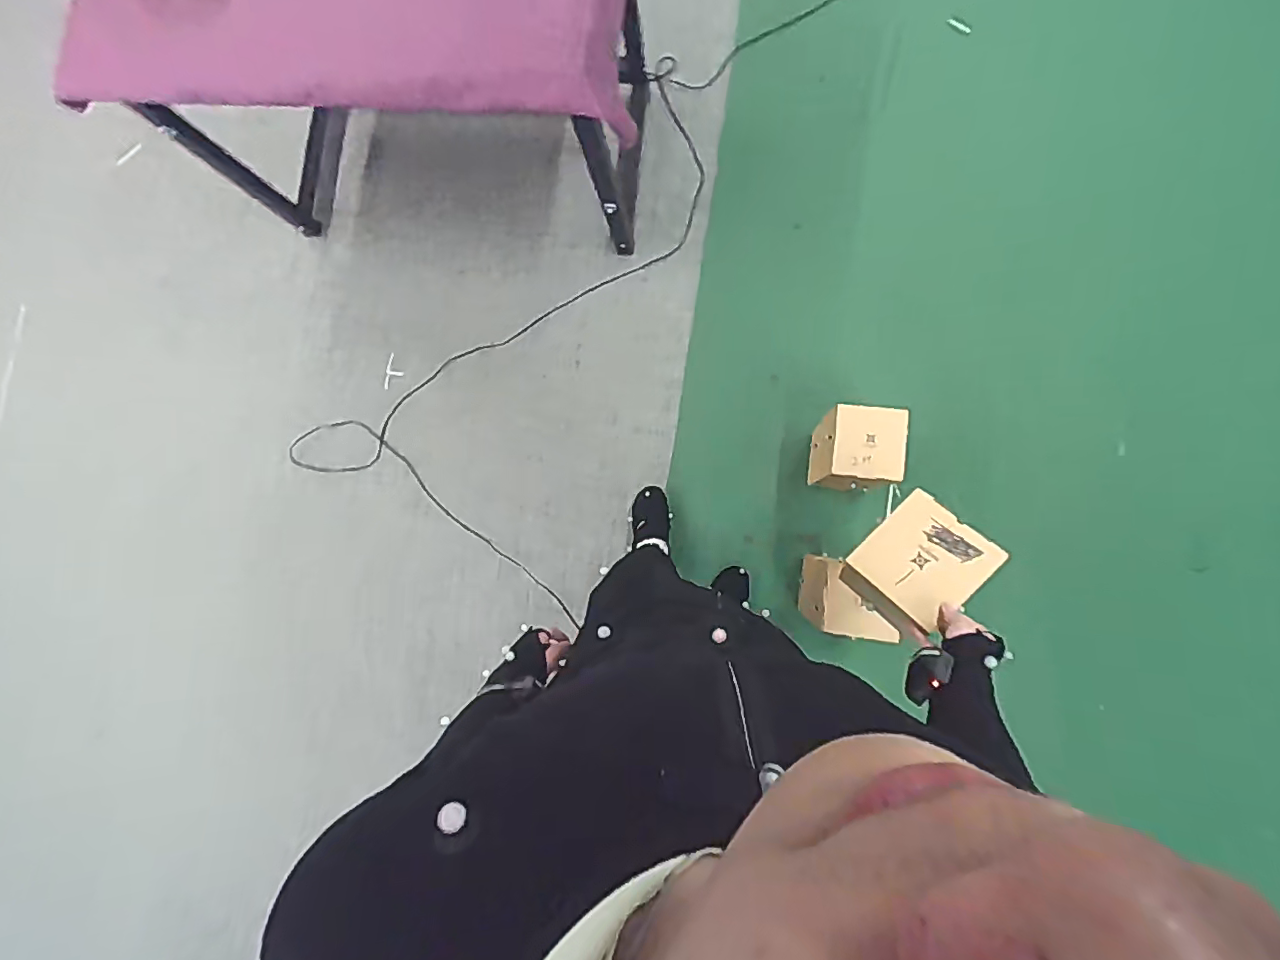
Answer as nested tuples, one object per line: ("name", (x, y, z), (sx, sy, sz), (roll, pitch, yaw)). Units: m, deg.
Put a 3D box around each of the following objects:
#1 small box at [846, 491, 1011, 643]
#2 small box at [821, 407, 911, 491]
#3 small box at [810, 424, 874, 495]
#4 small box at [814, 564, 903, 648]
("small box", (0.469, 0.153, 0.913), (0.179, 0.176, 0.168), (-44, 63, -2))
("small box", (0.562, -0.074, 1.360), (0.168, 0.176, 0.179), (7, 85, 8))
("small box", (0.586, -0.053, 1.521), (0.179, 0.176, 0.168), (7, 85, 7))
("small box", (0.533, 0.301, 1.325), (0.179, 0.176, 0.168), (7, 86, 9))
